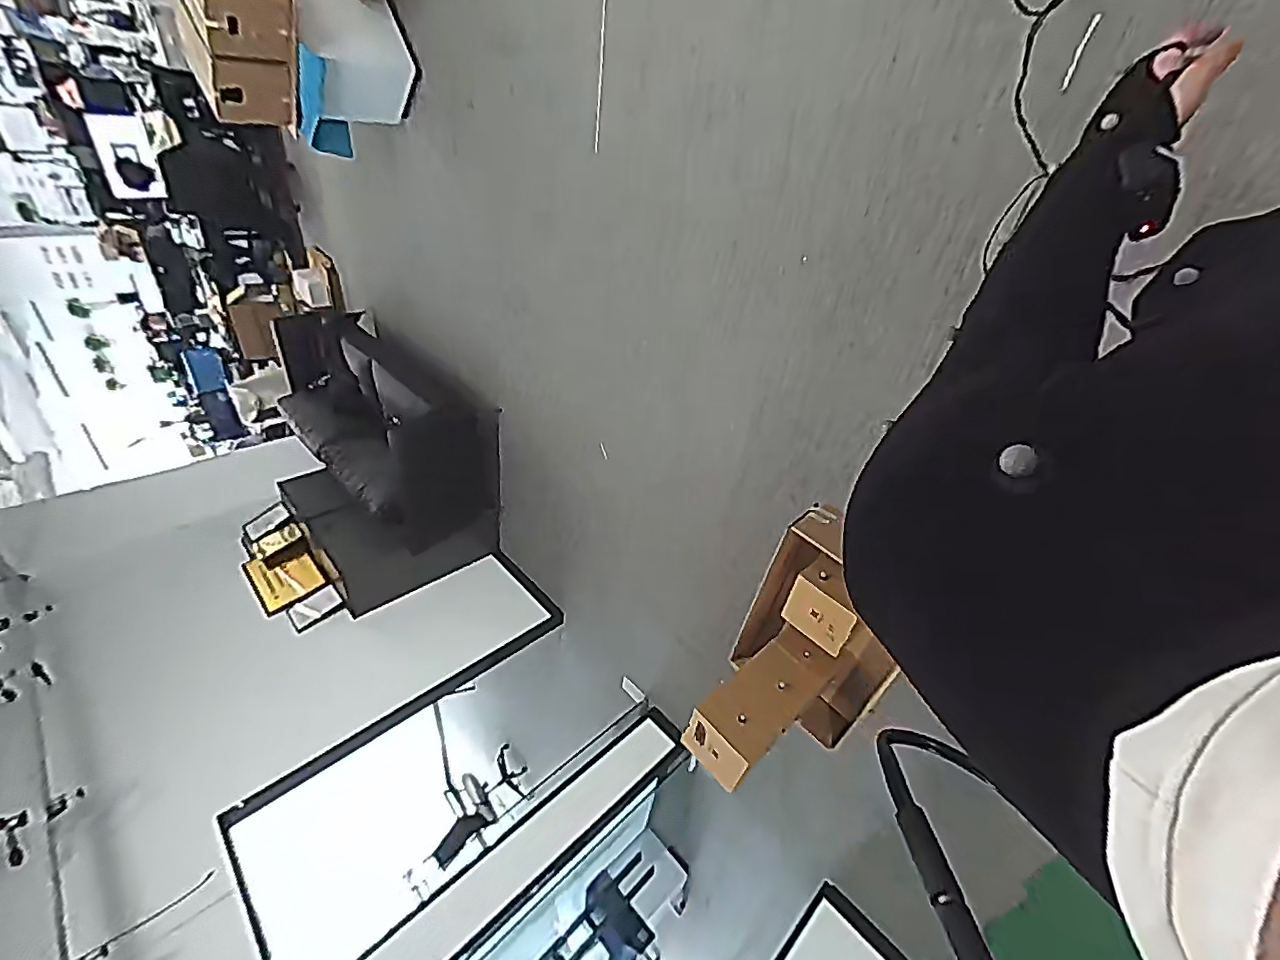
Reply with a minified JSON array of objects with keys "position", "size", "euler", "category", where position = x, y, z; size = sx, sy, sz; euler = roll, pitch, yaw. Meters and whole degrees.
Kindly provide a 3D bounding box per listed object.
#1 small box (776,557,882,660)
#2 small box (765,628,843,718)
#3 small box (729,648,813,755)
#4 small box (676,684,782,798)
[{"position":[0.495,0.326,1.420],"size":[0.179,0.176,0.168],"euler":[36,134,31],"category":"small box"},{"position":[0.460,0.545,1.581],"size":[0.179,0.176,0.168],"euler":[40,134,29],"category":"small box"},{"position":[0.343,0.599,1.480],"size":[0.179,0.176,0.168],"euler":[38,132,28],"category":"small box"},{"position":[0.226,0.651,1.375],"size":[0.179,0.176,0.168],"euler":[38,133,29],"category":"small box"}]
